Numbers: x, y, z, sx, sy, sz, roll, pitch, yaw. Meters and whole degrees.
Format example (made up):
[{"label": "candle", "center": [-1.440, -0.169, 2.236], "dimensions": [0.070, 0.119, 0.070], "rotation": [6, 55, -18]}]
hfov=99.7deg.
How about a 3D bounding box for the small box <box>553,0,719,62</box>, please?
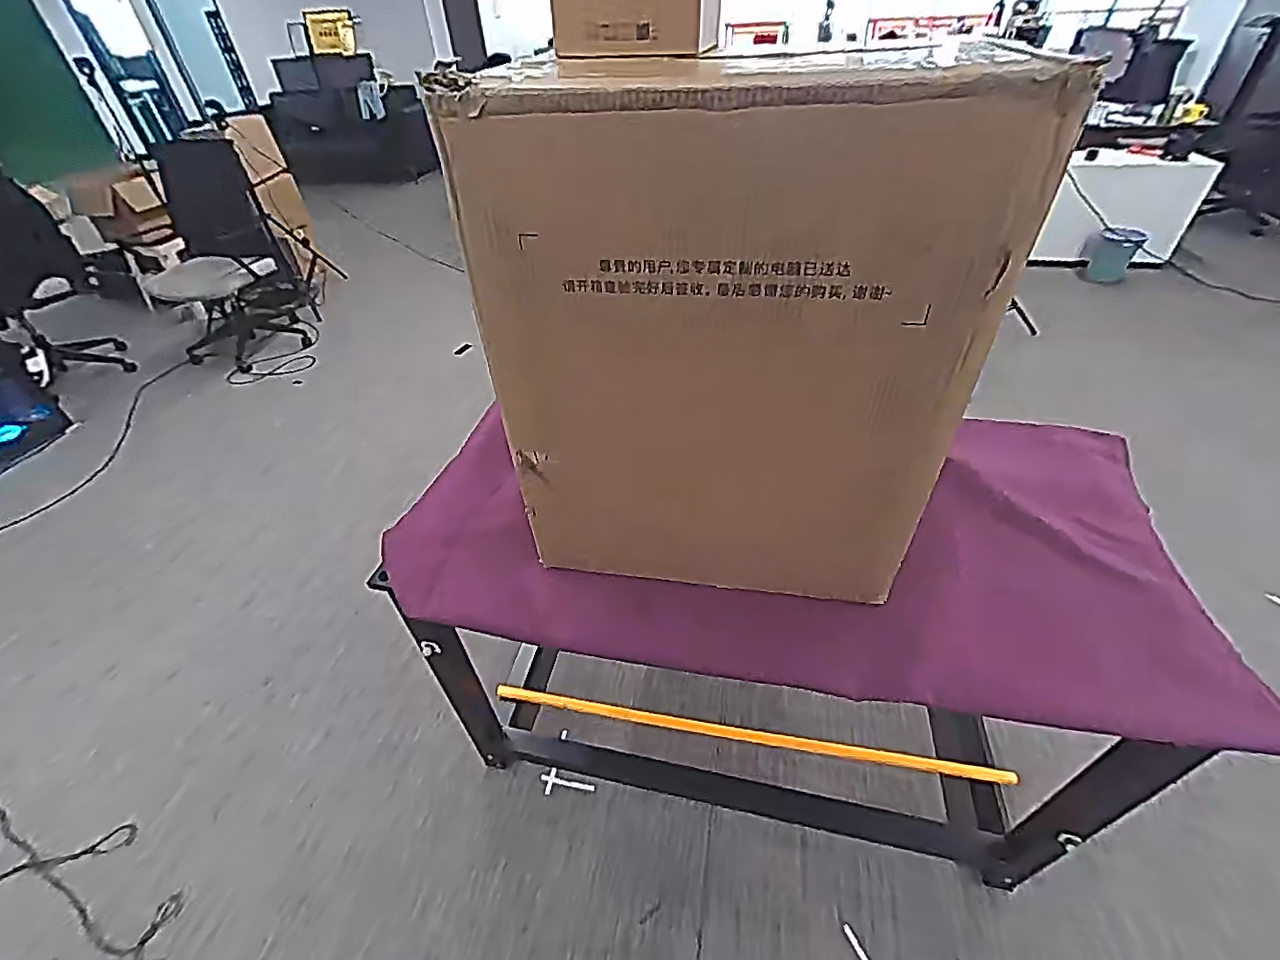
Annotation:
[{"label": "small box", "center": [0.001, -0.580, 0.607], "dimensions": [0.168, 0.176, 0.179], "rotation": [8, 42, 11]}]
